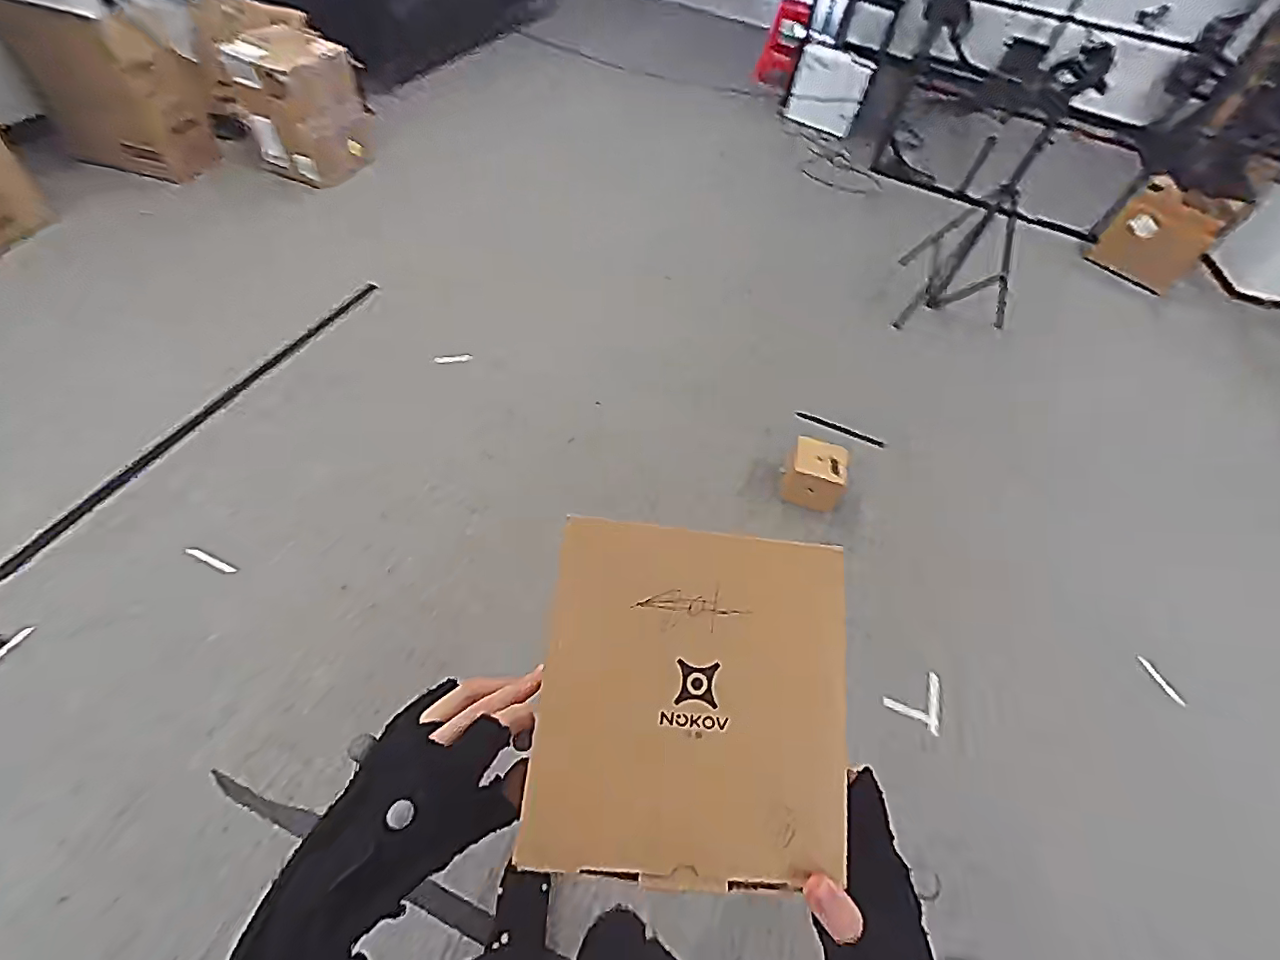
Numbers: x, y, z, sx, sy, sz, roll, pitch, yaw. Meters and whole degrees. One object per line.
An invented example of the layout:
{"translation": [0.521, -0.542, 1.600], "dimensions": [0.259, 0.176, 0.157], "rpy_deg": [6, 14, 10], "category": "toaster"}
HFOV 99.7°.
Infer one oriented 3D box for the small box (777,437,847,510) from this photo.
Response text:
{"translation": [0.594, -0.016, 1.869], "dimensions": [0.179, 0.176, 0.168], "rpy_deg": [16, 53, 4], "category": "small box"}
